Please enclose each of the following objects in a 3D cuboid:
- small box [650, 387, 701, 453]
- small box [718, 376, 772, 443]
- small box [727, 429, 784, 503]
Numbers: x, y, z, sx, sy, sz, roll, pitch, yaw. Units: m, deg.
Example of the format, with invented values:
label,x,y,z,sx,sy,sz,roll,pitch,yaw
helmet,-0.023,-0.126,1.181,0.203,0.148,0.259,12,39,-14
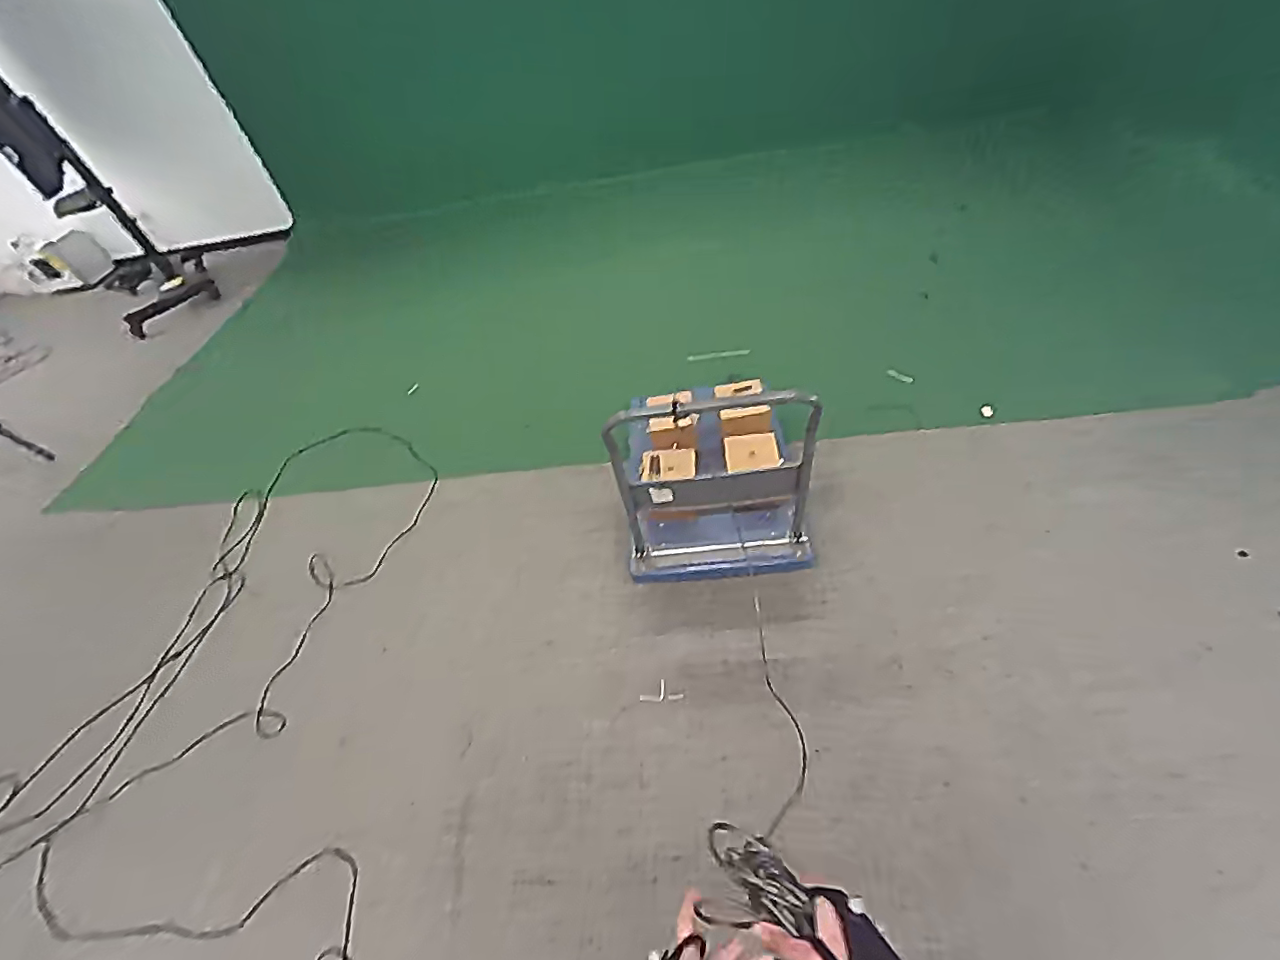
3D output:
label,x,y,z,sx,sy,sz,roll,pitch,yaw
small box,0.131,-0.213,1.986,0.168,0.176,0.179,-8,49,4
small box,0.380,-0.251,1.967,0.168,0.176,0.179,-9,50,5
small box,0.377,-0.045,1.792,0.168,0.176,0.179,-5,50,8
